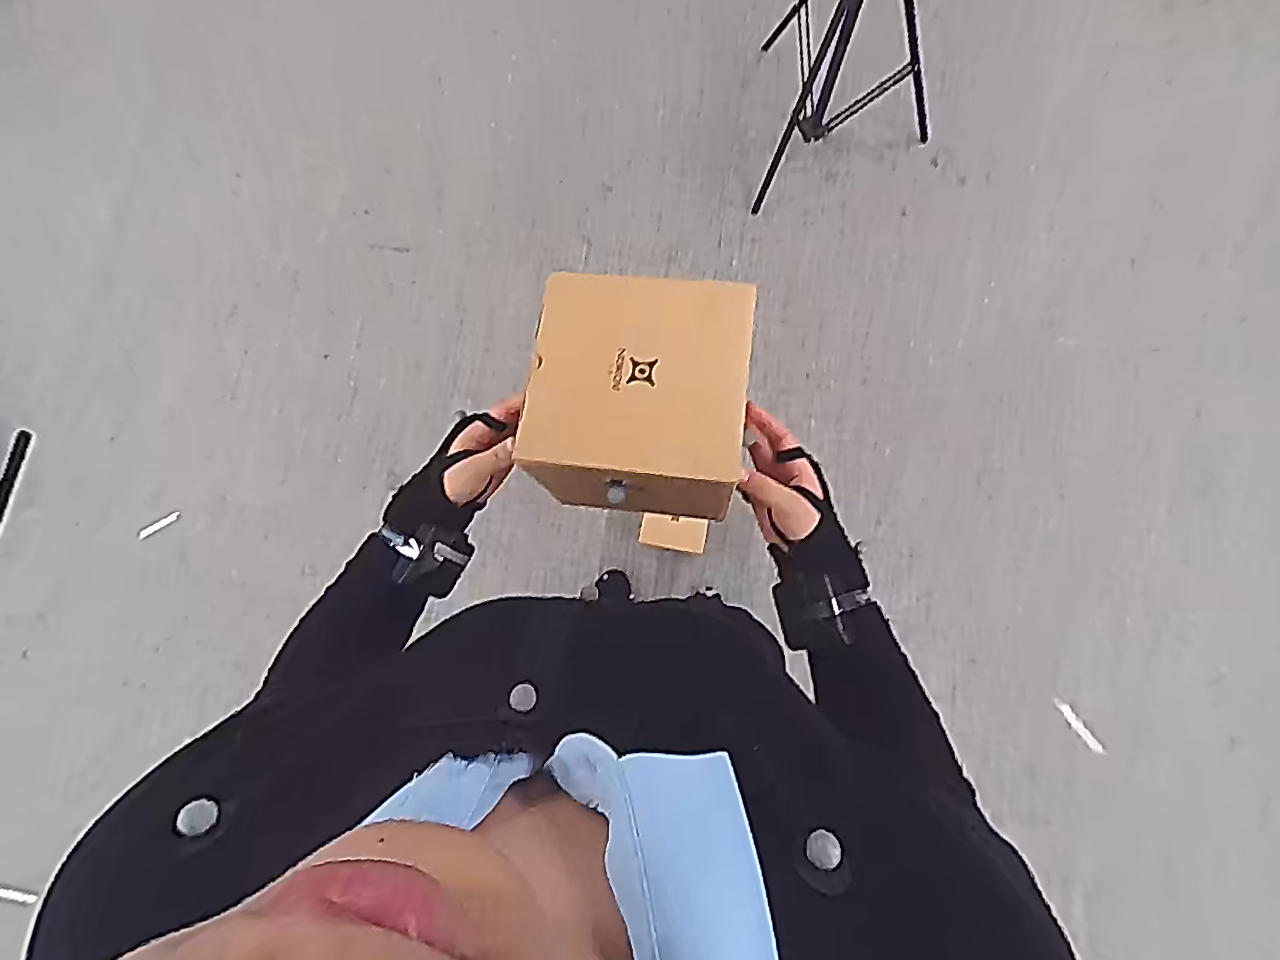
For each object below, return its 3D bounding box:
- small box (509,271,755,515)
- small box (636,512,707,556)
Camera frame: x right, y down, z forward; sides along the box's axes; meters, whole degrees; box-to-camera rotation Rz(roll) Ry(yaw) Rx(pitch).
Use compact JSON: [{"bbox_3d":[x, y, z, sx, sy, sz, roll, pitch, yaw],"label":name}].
[{"bbox_3d":[0.003,-0.066,0.496,0.179,0.176,0.168,6,77,7],"label":"small box"},{"bbox_3d":[0.091,0.104,1.444,0.168,0.176,0.179,11,80,4],"label":"small box"}]
